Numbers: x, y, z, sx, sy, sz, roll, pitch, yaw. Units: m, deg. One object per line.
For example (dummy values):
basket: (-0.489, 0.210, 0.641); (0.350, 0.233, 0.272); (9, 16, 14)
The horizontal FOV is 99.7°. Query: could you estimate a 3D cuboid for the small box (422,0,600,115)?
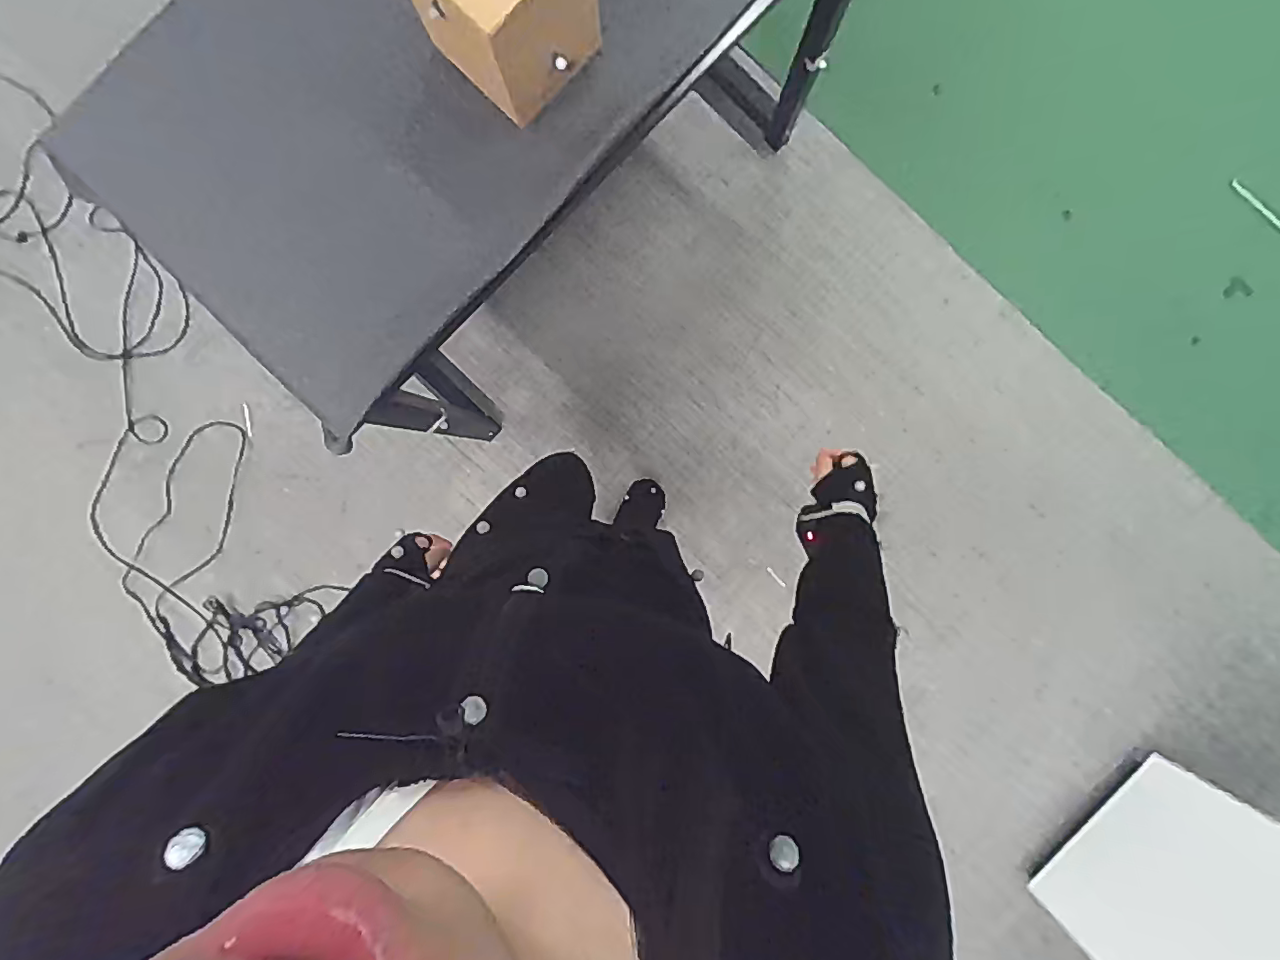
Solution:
small box: (-0.168, -0.613, 0.672); (0.179, 0.176, 0.168); (44, 92, 0)
